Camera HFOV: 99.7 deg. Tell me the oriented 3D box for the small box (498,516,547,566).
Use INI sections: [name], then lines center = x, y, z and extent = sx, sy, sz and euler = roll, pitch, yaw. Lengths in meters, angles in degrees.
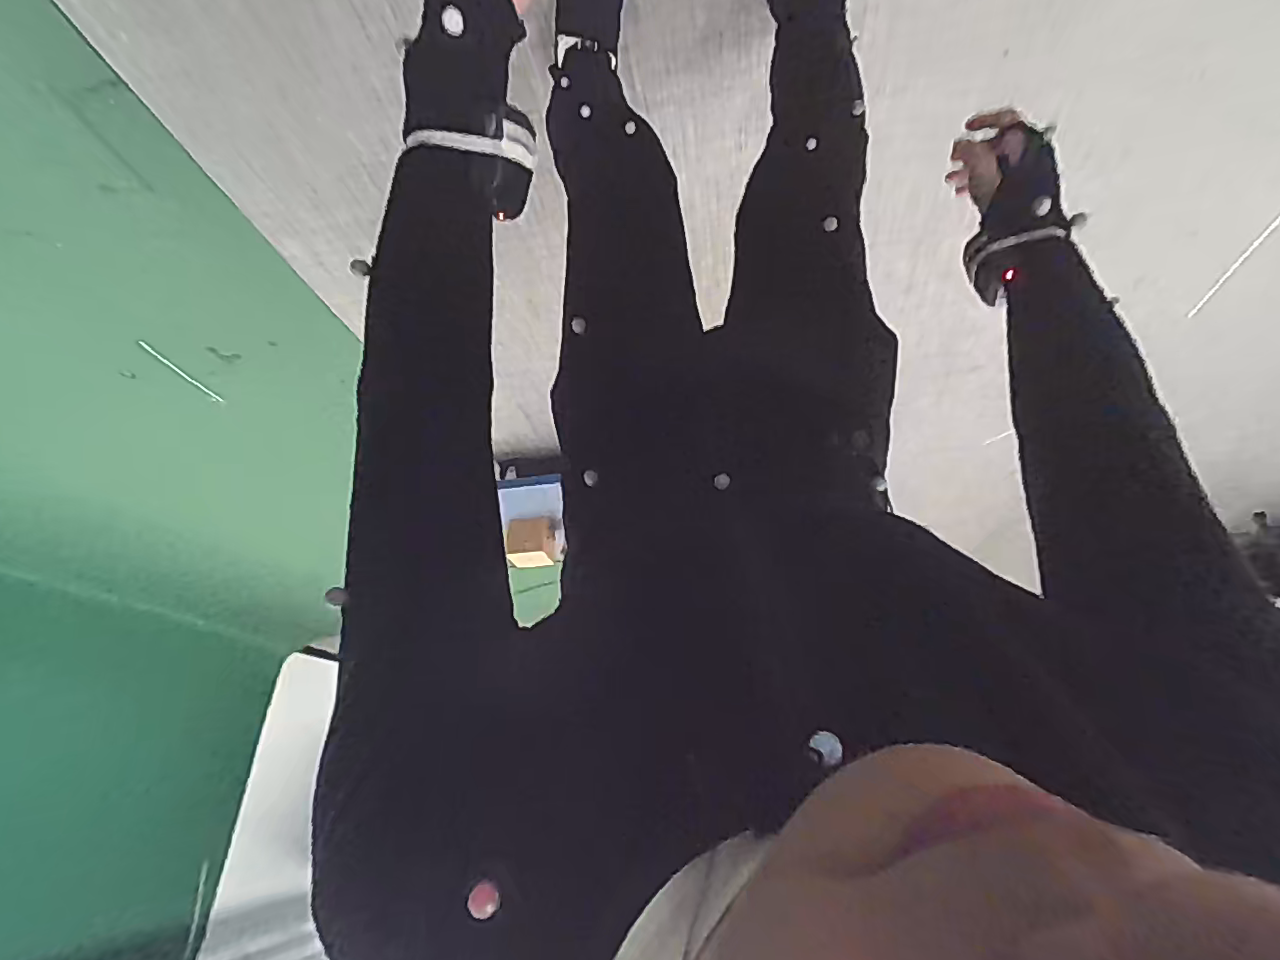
[small box]
center = -0.516, 0.269, 2.405
extent = 0.179, 0.176, 0.168
euler = -5, 150, 6
